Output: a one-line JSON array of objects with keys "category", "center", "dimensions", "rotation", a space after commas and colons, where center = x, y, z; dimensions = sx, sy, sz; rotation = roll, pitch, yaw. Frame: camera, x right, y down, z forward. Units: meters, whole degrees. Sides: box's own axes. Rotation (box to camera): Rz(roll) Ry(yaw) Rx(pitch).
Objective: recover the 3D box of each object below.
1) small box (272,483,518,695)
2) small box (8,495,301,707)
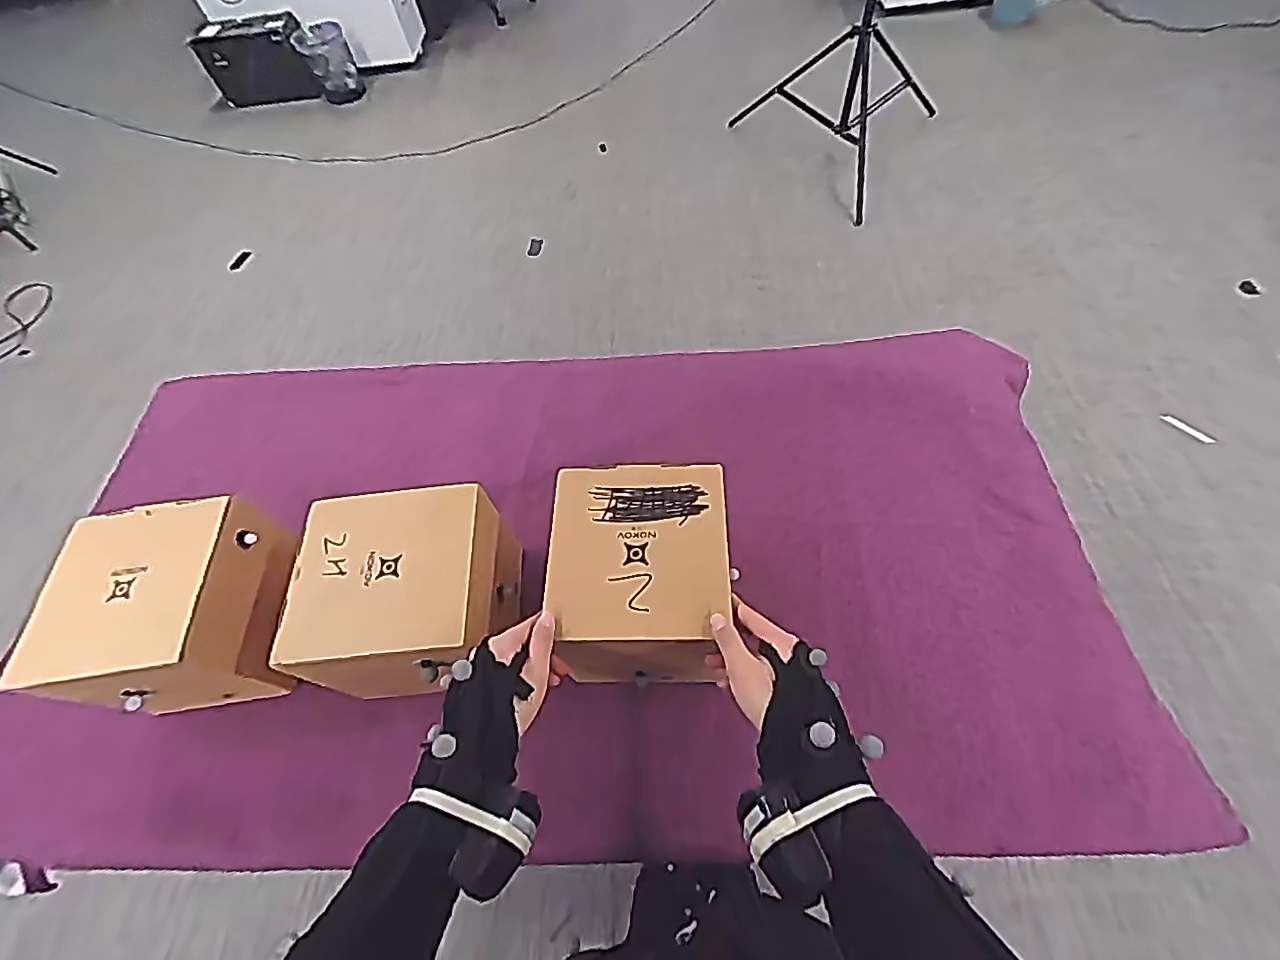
[{"category": "small box", "center": [-0.234, 0.122, 0.576], "dimensions": [0.179, 0.176, 0.168], "rotation": [-7, 57, 1]}, {"category": "small box", "center": [-0.489, 0.142, 0.593], "dimensions": [0.168, 0.176, 0.179], "rotation": [-9, 58, 0]}]
